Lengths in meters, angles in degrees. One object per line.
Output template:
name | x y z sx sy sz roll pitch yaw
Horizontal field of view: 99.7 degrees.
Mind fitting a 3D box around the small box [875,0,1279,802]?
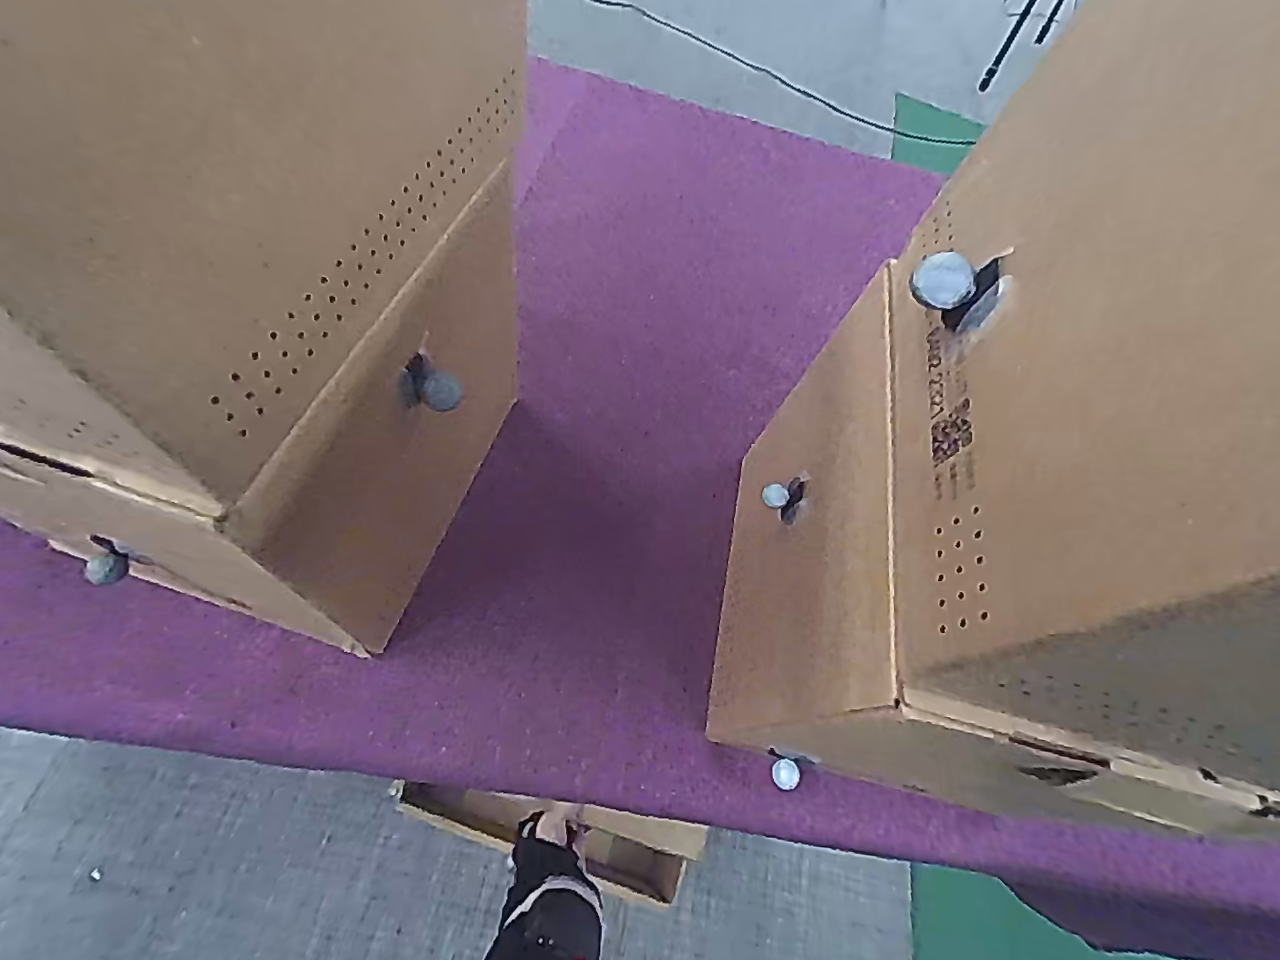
small box | 0.177 -0.029 0.110 0.179 0.176 0.168 16 60 -3

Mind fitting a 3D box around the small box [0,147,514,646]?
small box | -0.165 -0.047 0.236 0.168 0.176 0.179 20 62 -2

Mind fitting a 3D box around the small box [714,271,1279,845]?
small box | 0.142 0.046 0.252 0.168 0.176 0.179 16 60 -4

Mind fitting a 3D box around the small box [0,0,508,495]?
small box | -0.131 -0.126 0.095 0.168 0.176 0.179 21 62 -1
